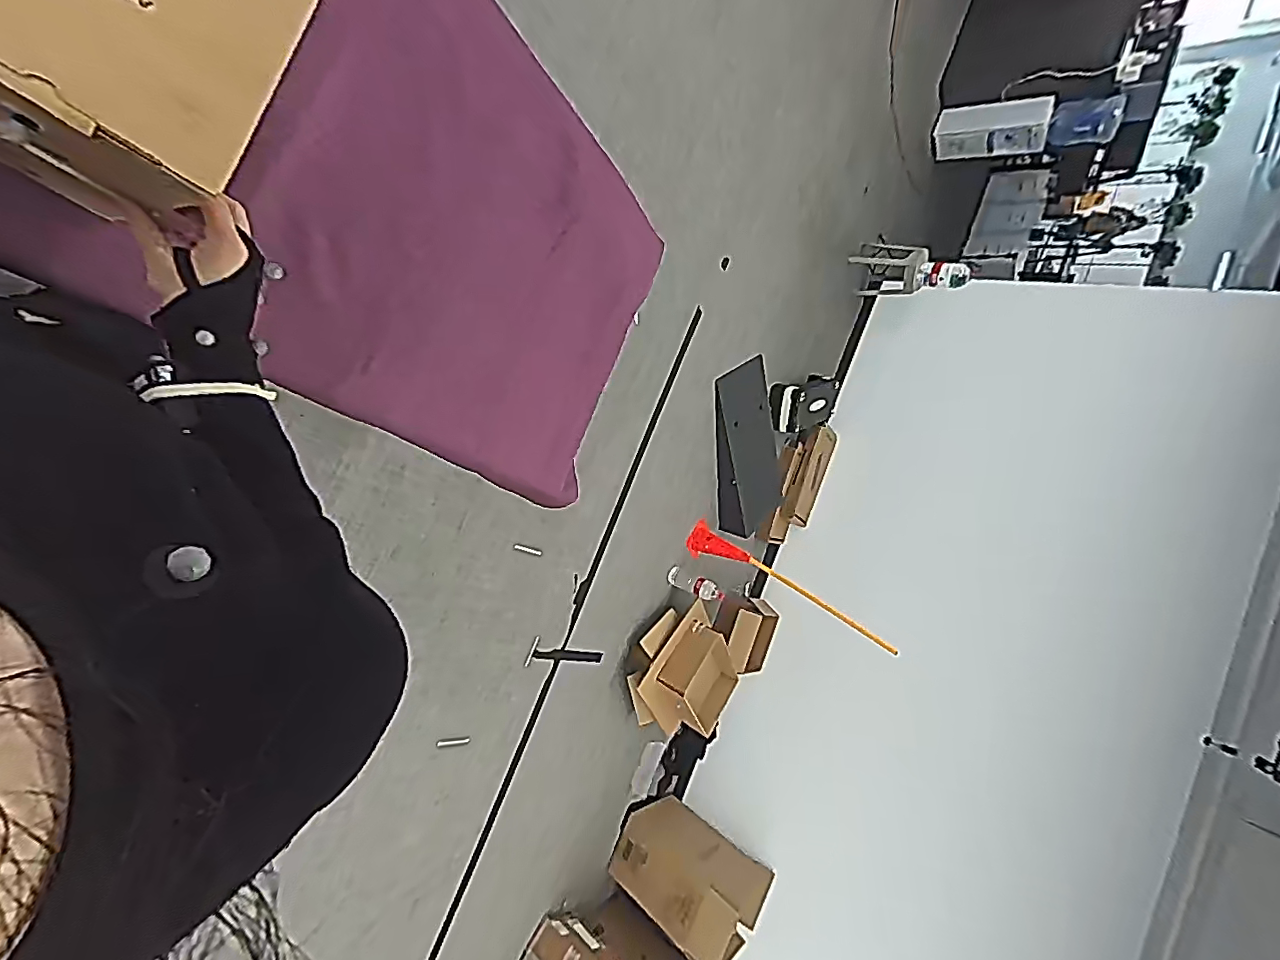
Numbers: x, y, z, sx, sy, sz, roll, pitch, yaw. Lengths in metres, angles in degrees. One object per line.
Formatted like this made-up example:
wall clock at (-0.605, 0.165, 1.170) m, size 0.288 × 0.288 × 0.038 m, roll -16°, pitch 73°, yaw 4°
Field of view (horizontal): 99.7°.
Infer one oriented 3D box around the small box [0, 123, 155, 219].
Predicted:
small box at (-0.483, -0.341, 0.447) m, size 0.168 × 0.176 × 0.179 m, roll 32°, pitch 78°, yaw -54°

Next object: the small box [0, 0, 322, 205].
small box at (-0.355, -0.305, 0.350) m, size 0.168 × 0.176 × 0.179 m, roll 30°, pitch 80°, yaw -54°
